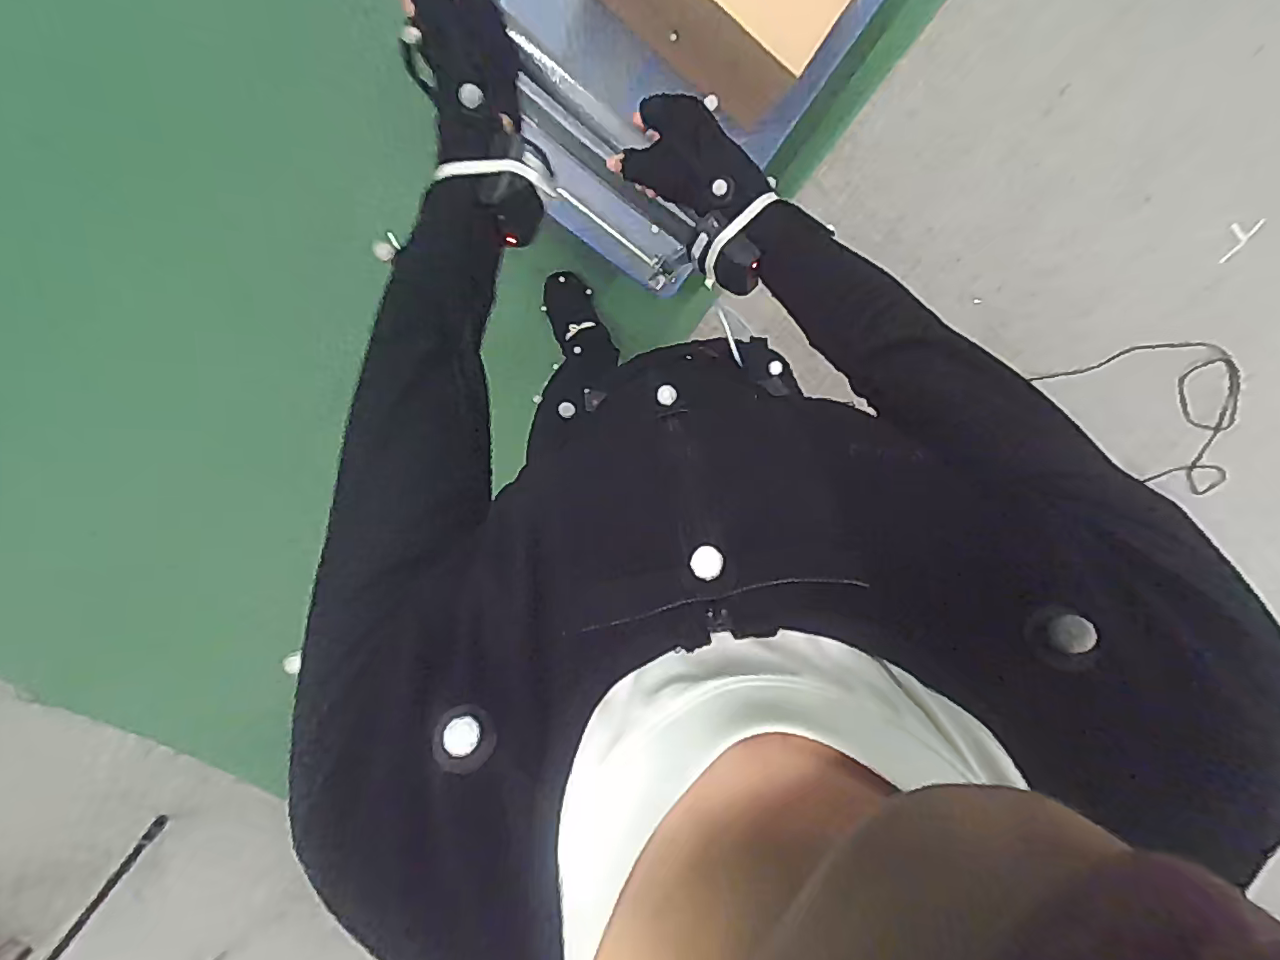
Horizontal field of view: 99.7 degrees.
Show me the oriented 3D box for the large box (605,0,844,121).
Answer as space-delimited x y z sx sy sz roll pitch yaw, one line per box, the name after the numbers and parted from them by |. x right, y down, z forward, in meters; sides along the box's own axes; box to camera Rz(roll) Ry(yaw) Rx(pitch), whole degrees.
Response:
0.150 -0.880 0.863 0.408 0.320 0.320 33 105 -13 | large box
